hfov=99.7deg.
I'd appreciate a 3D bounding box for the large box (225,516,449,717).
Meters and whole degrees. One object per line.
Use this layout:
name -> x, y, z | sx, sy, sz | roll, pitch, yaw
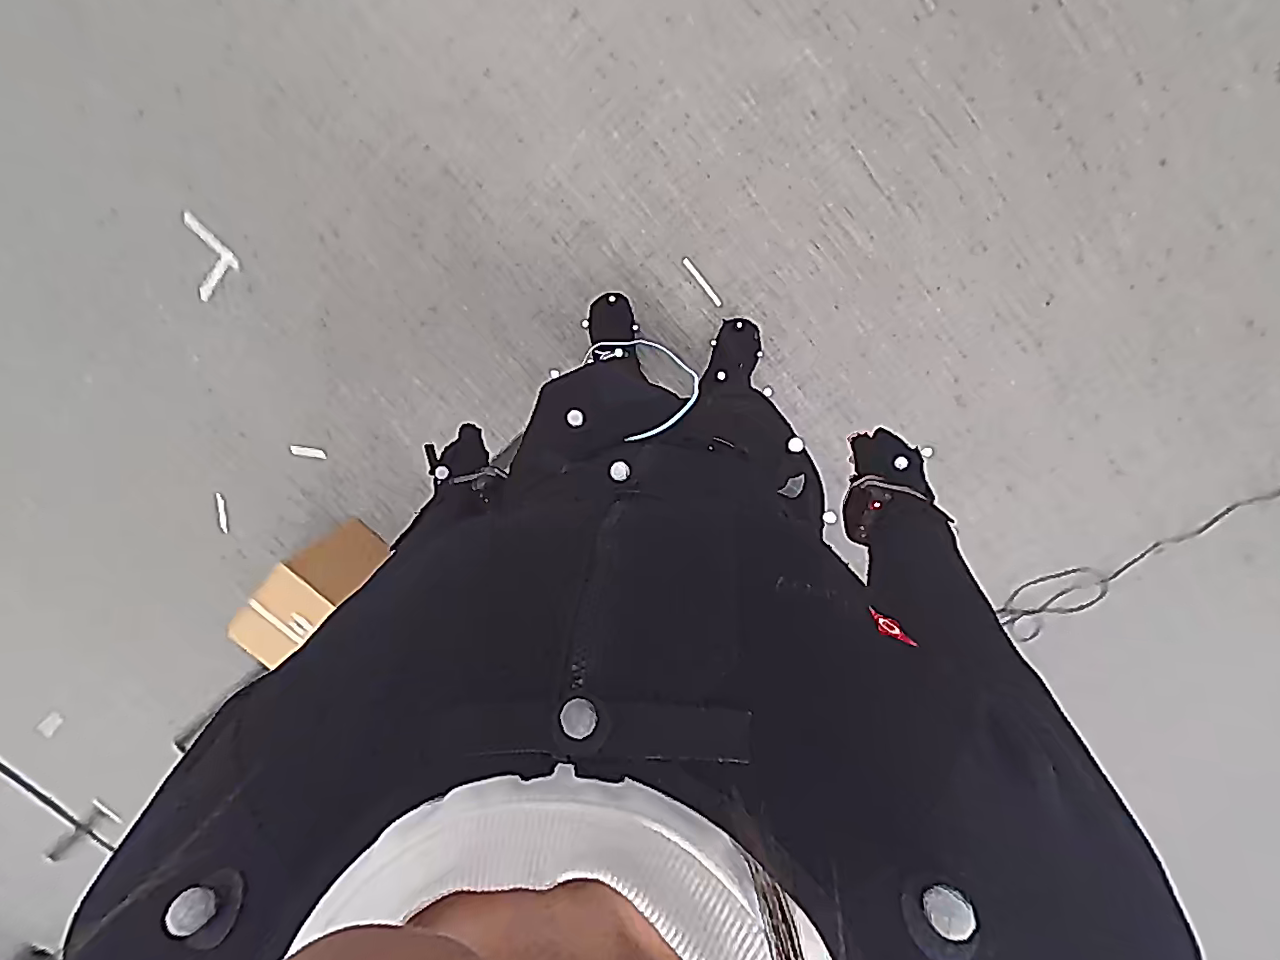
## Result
large box -> -0.850, 0.382, 1.568 | 0.320, 0.320, 0.408 | -43, 98, 17
